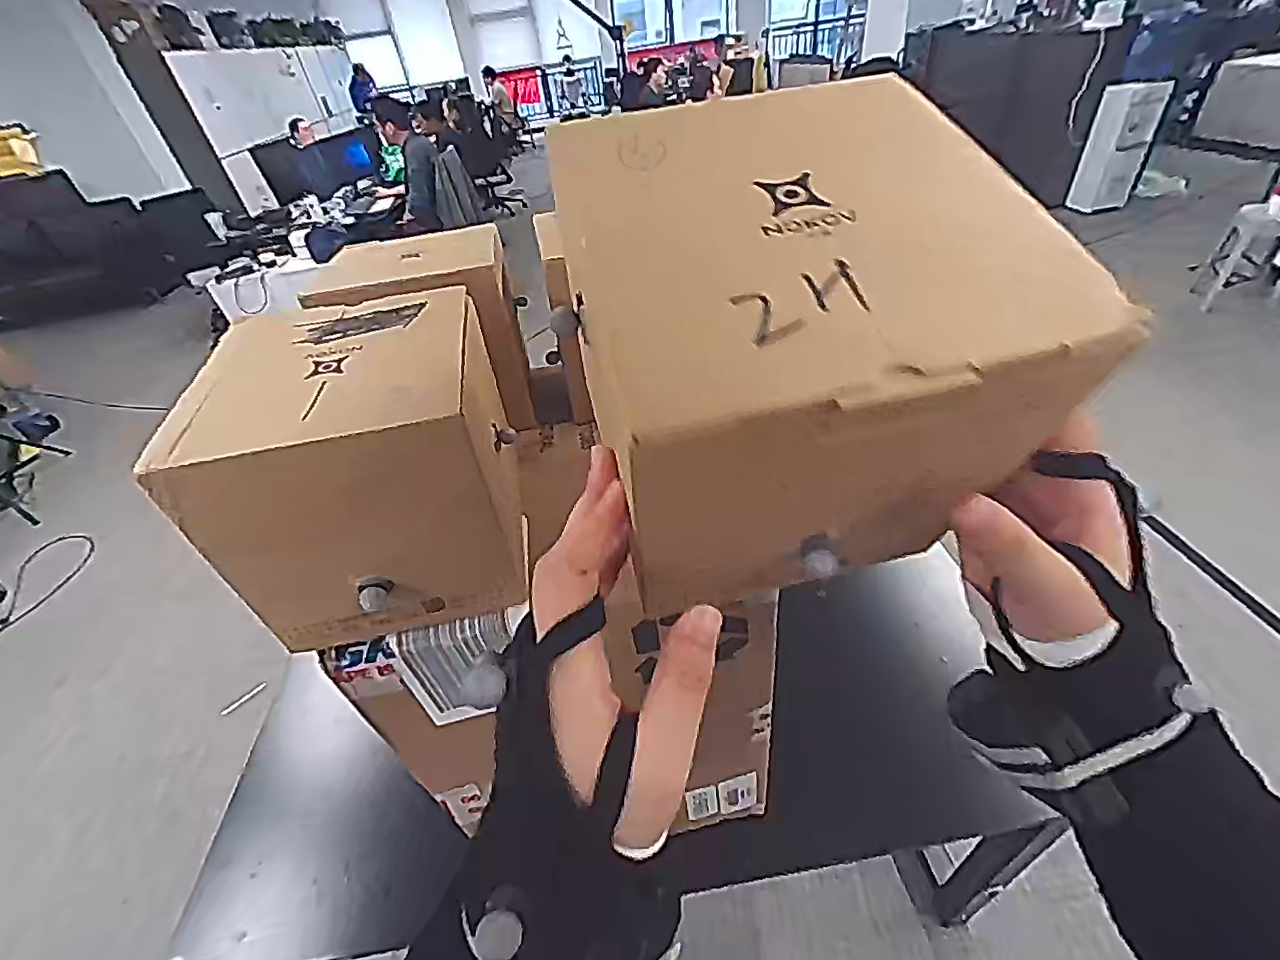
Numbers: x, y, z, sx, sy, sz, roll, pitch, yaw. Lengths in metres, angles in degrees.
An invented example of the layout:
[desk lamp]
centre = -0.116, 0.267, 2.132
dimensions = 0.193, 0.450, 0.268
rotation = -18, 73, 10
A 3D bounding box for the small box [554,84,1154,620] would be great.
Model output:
[small box]
centre = 0.060, -0.053, 0.266
dimensions = 0.168, 0.176, 0.179
rotation = -12, 59, -5
